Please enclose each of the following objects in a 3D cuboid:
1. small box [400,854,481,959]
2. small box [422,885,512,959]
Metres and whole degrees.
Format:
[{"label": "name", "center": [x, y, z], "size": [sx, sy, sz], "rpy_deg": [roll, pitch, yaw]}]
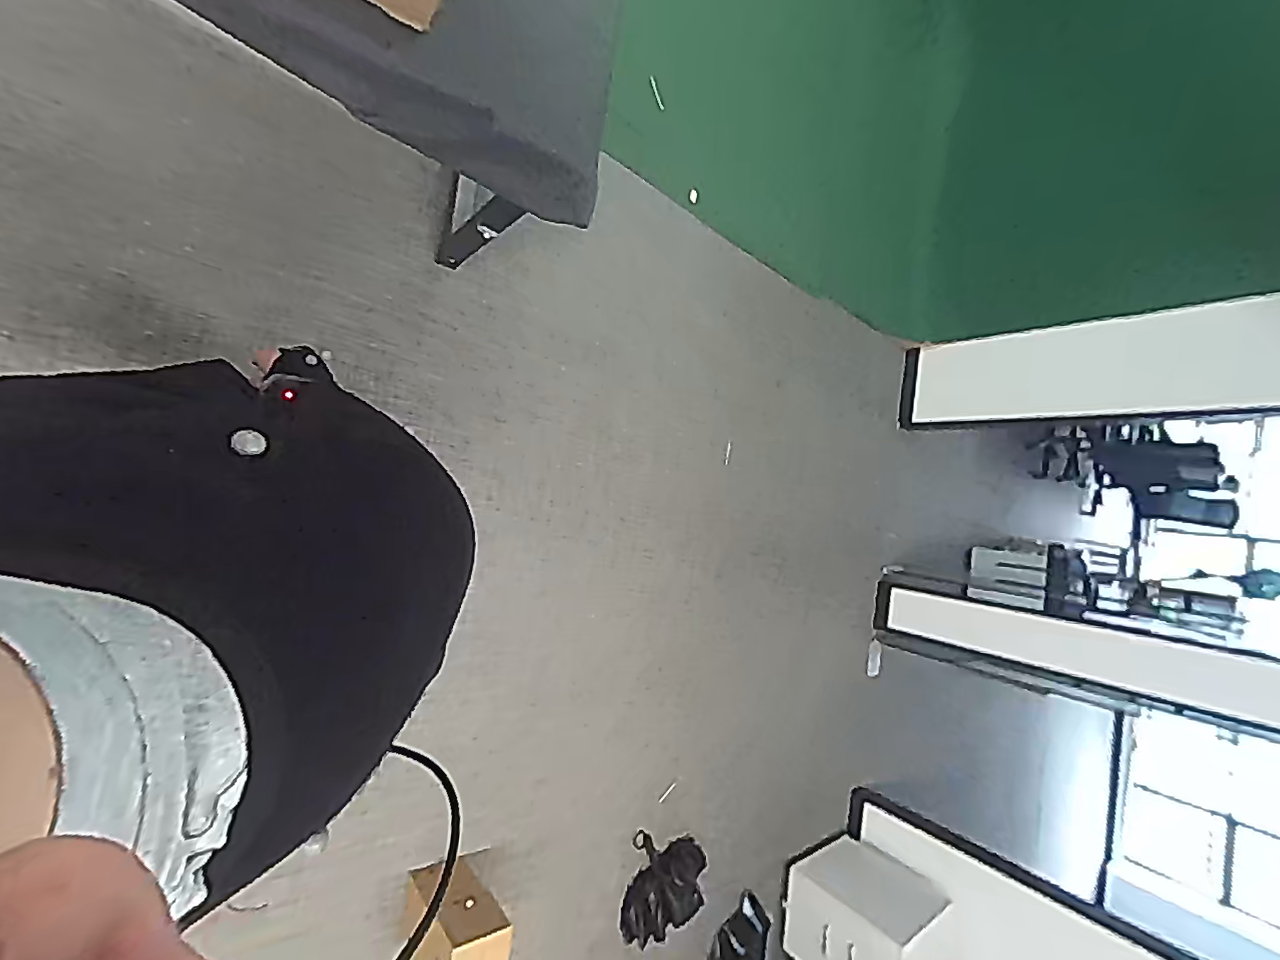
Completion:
[{"label": "small box", "center": [-0.572, 1.225, 1.547], "size": [0.168, 0.176, 0.179], "rpy_deg": [9, 85, -40]}, {"label": "small box", "center": [-0.460, 1.229, 1.426], "size": [0.168, 0.176, 0.179], "rpy_deg": [11, 84, -40]}]
